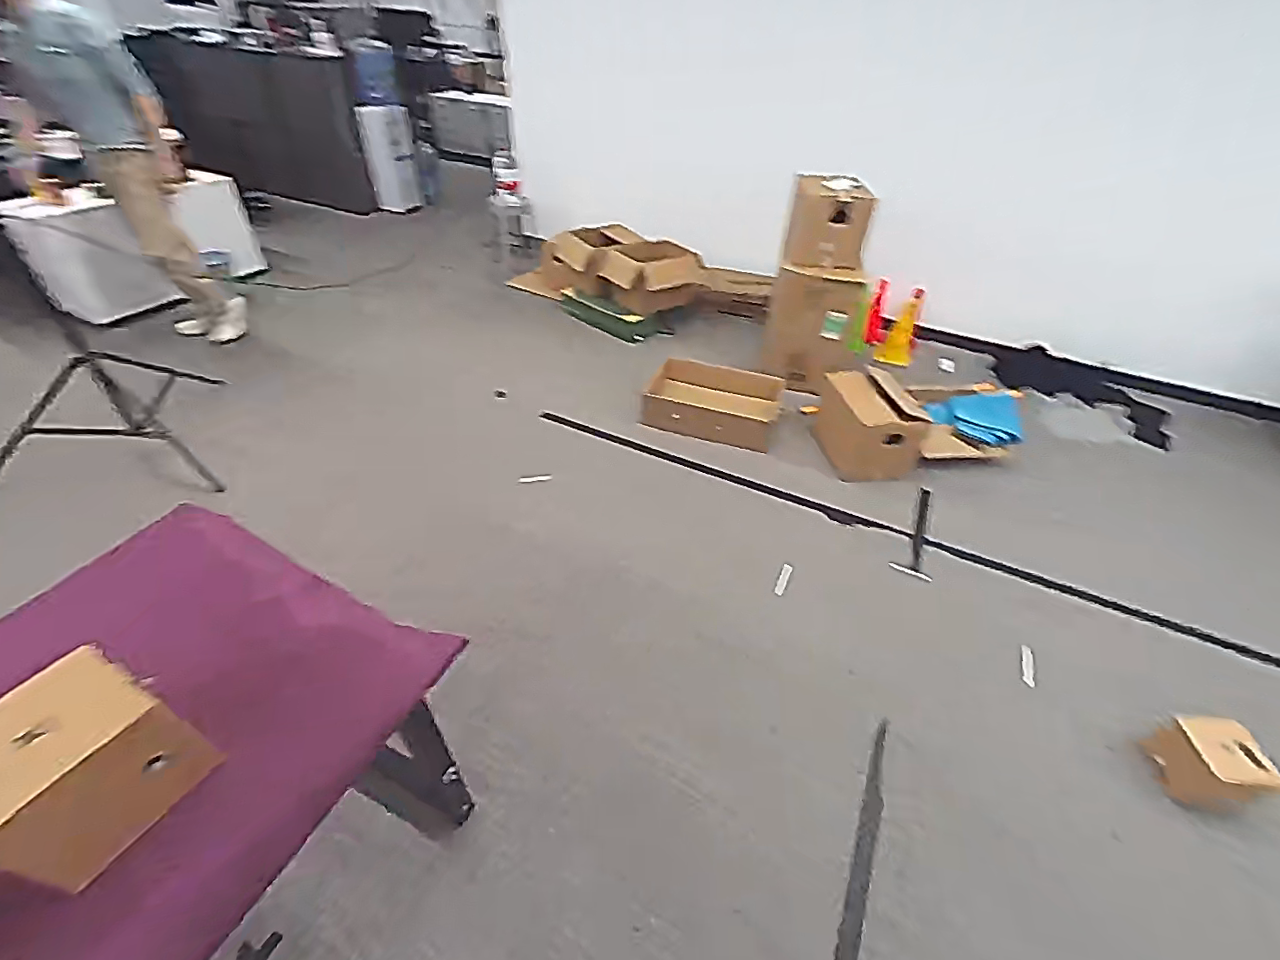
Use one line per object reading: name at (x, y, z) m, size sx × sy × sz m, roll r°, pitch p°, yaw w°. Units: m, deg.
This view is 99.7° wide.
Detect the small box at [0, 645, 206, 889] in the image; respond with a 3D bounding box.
small box at (-0.682, 0.344, 0.657) m, size 0.168 × 0.176 × 0.179 m, roll 20°, pitch 45°, yaw 21°

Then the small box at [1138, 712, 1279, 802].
small box at (1.527, 0.752, 1.461) m, size 0.179 × 0.176 × 0.168 m, roll 4°, pitch 41°, yaw 2°
